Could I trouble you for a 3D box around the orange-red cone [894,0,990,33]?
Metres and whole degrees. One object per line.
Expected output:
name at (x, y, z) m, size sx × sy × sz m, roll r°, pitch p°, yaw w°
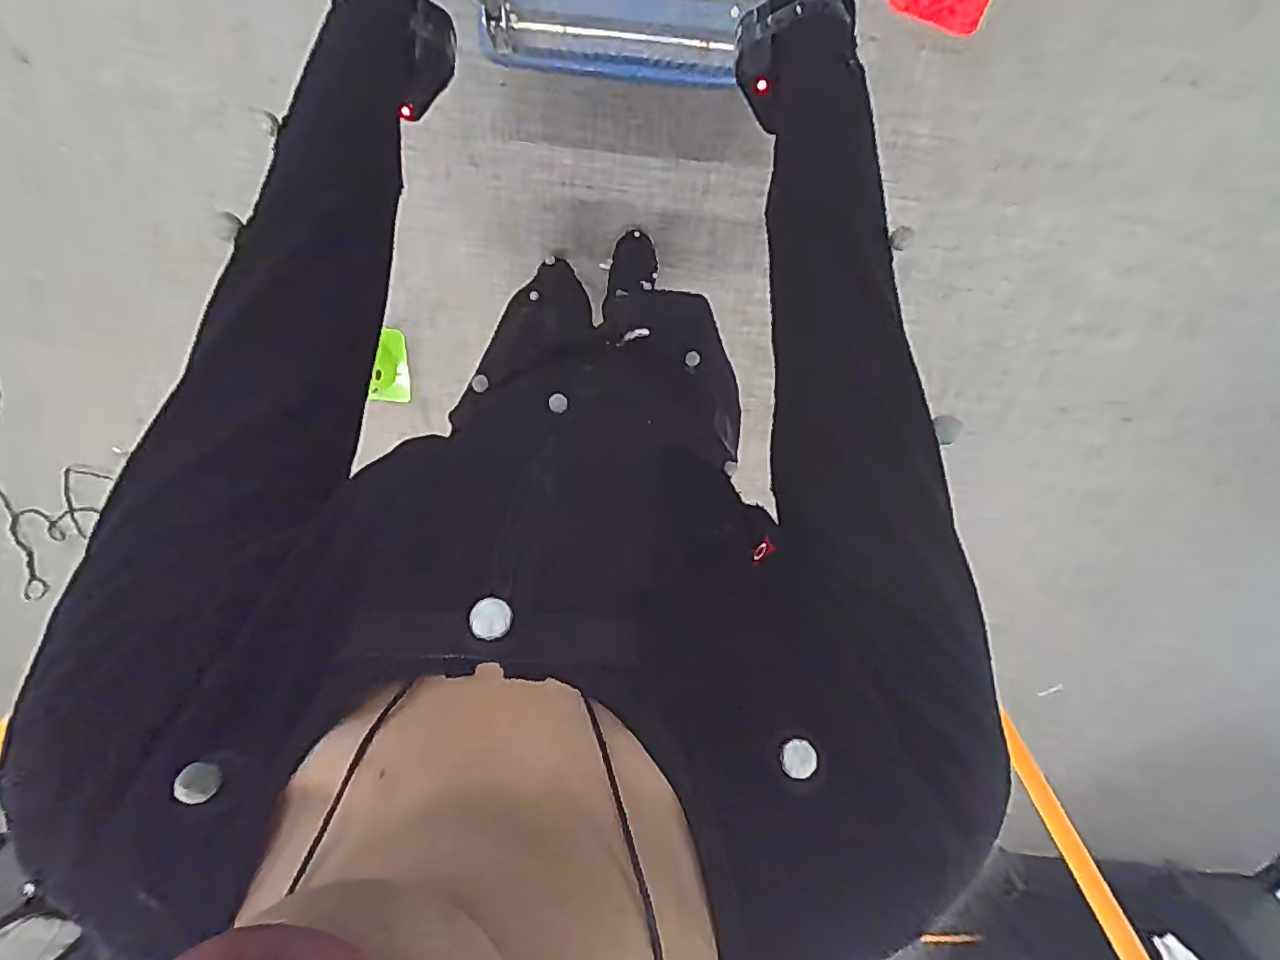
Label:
orange-red cone at (0.618, -0.945, 0.910) m, size 0.198 × 0.360 × 0.199 m, roll 16°, pitch 117°, yaw -7°
